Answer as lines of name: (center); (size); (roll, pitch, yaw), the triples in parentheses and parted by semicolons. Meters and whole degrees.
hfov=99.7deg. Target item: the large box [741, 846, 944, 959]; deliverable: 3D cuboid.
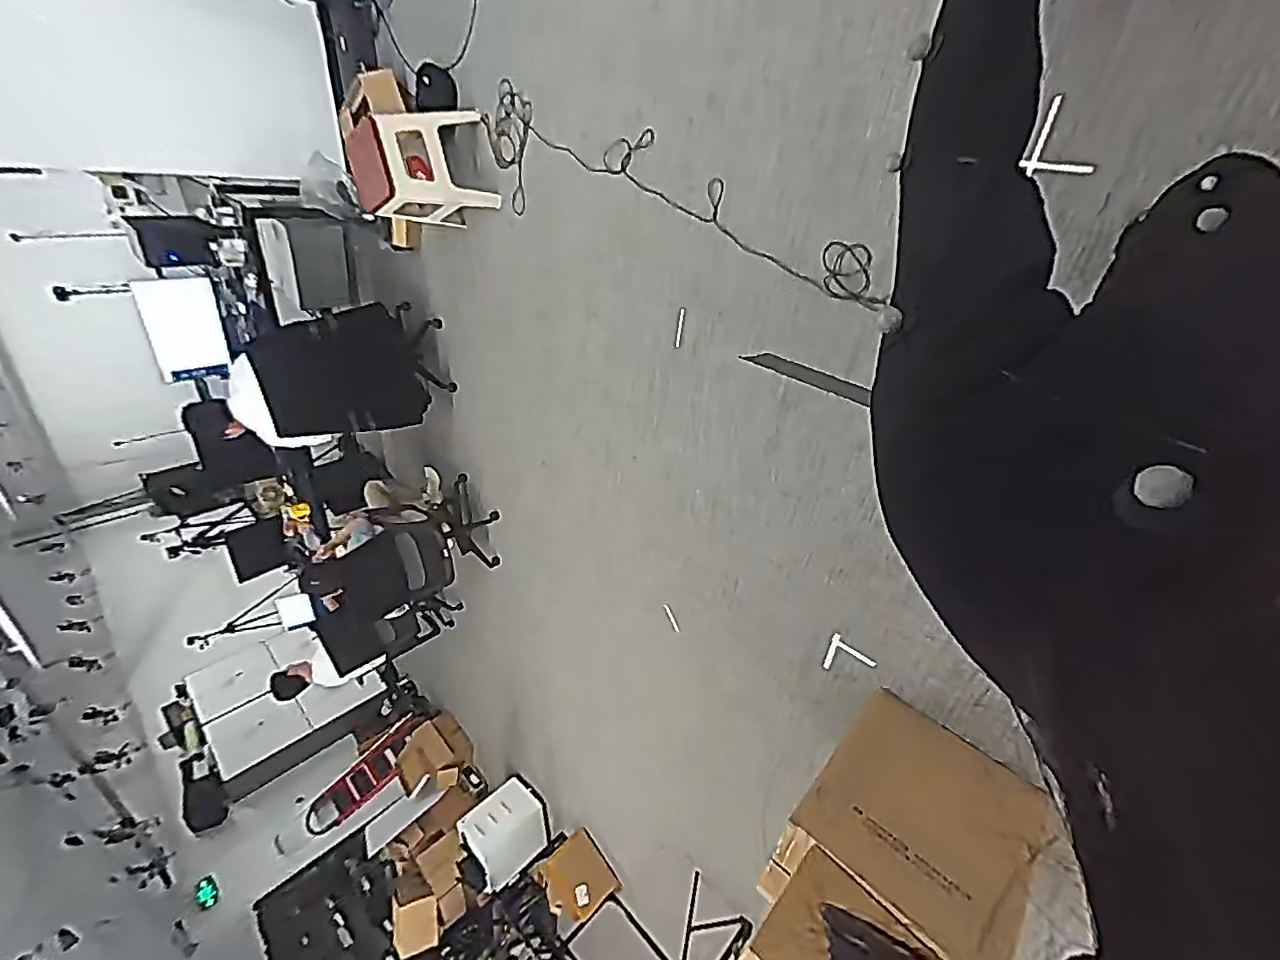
large box: (0.476, 1.189, 1.259); (0.408, 0.320, 0.320); (33, 129, 34)
